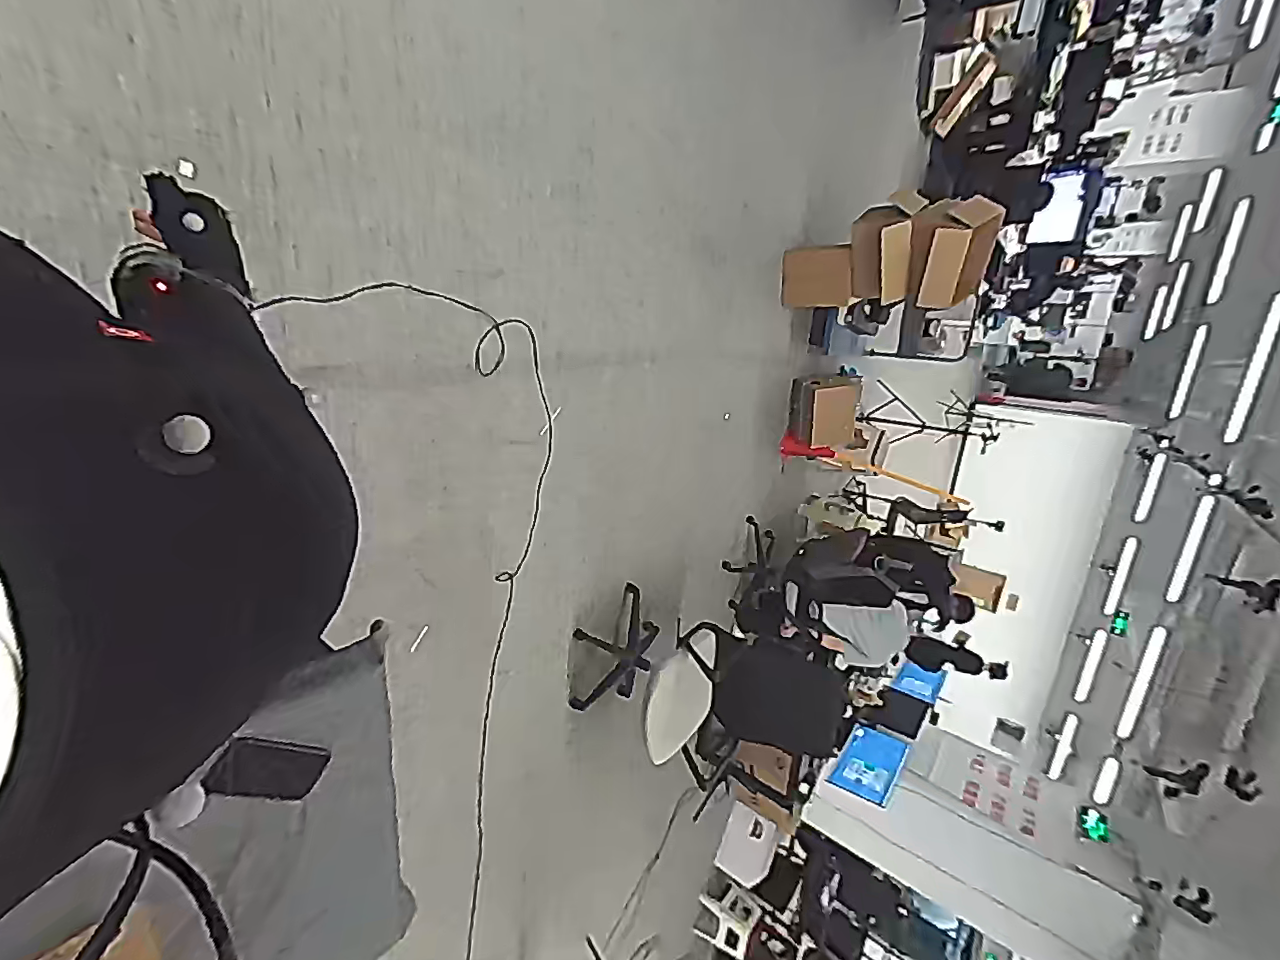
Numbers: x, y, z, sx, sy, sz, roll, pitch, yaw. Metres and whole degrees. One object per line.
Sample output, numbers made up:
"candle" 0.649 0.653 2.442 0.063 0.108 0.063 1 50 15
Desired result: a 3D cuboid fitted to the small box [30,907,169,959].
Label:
"small box" -0.628 0.637 0.605 0.168 0.176 0.179 -18 118 -49
